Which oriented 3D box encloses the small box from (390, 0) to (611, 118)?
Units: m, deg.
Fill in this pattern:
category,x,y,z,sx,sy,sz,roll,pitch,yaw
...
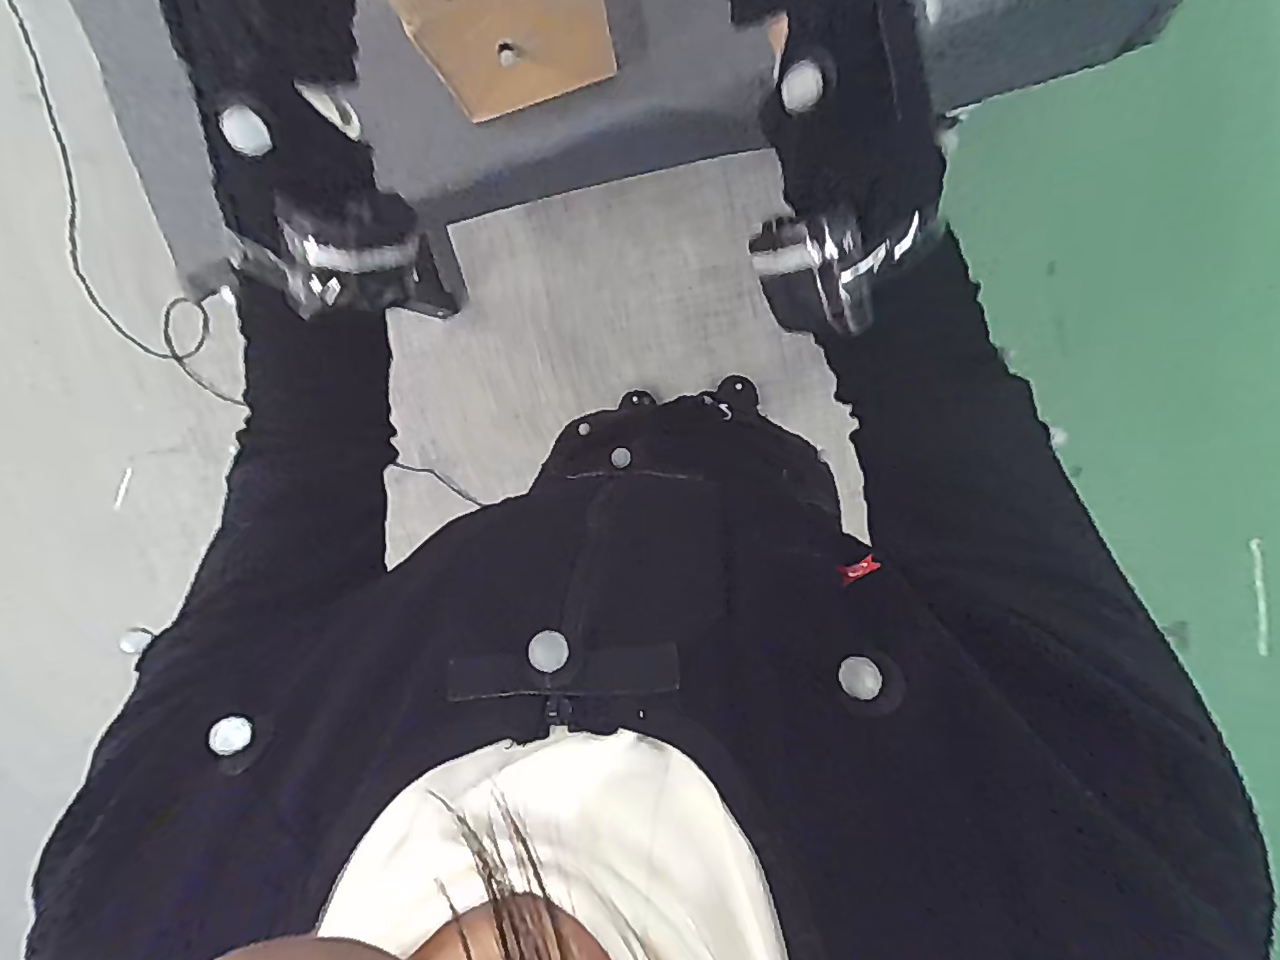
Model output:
category,x,y,z,sx,sy,sz,roll,pitch,yaw
small box,-0.139,-0.498,0.531,0.179,0.176,0.168,-14,98,6
